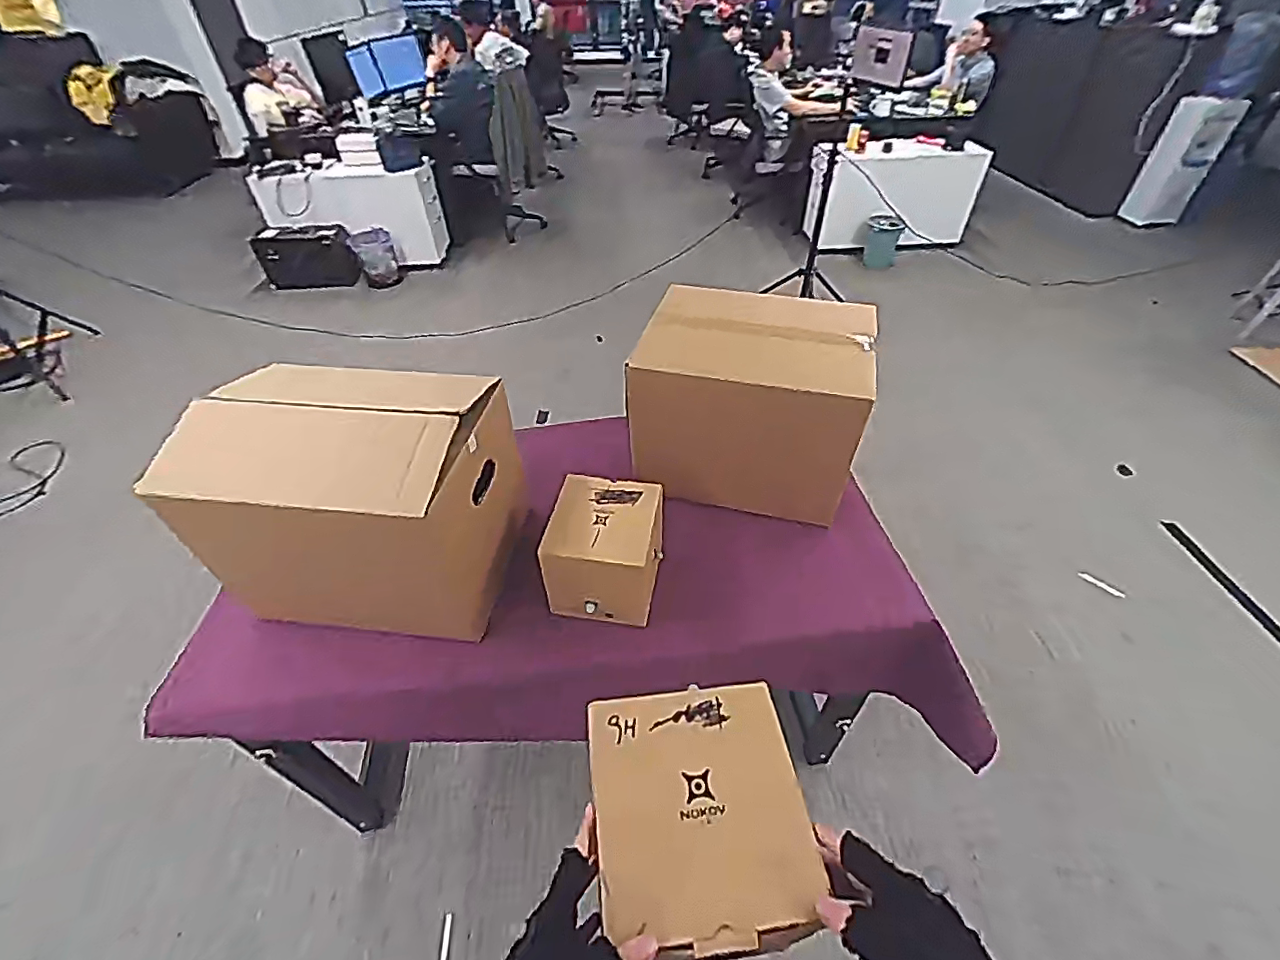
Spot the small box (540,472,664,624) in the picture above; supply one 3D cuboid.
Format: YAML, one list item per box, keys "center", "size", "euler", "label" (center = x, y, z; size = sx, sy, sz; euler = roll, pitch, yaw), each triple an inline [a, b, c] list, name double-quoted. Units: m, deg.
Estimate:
- center: [-0.054, 0.113, 0.904]
  size: [0.168, 0.176, 0.179]
  euler: [6, 45, 8]
  label: "small box"

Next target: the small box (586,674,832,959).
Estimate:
- center: [0.041, 0.298, 0.478]
  size: [0.168, 0.176, 0.179]
  euler: [-3, 45, -7]
  label: "small box"
